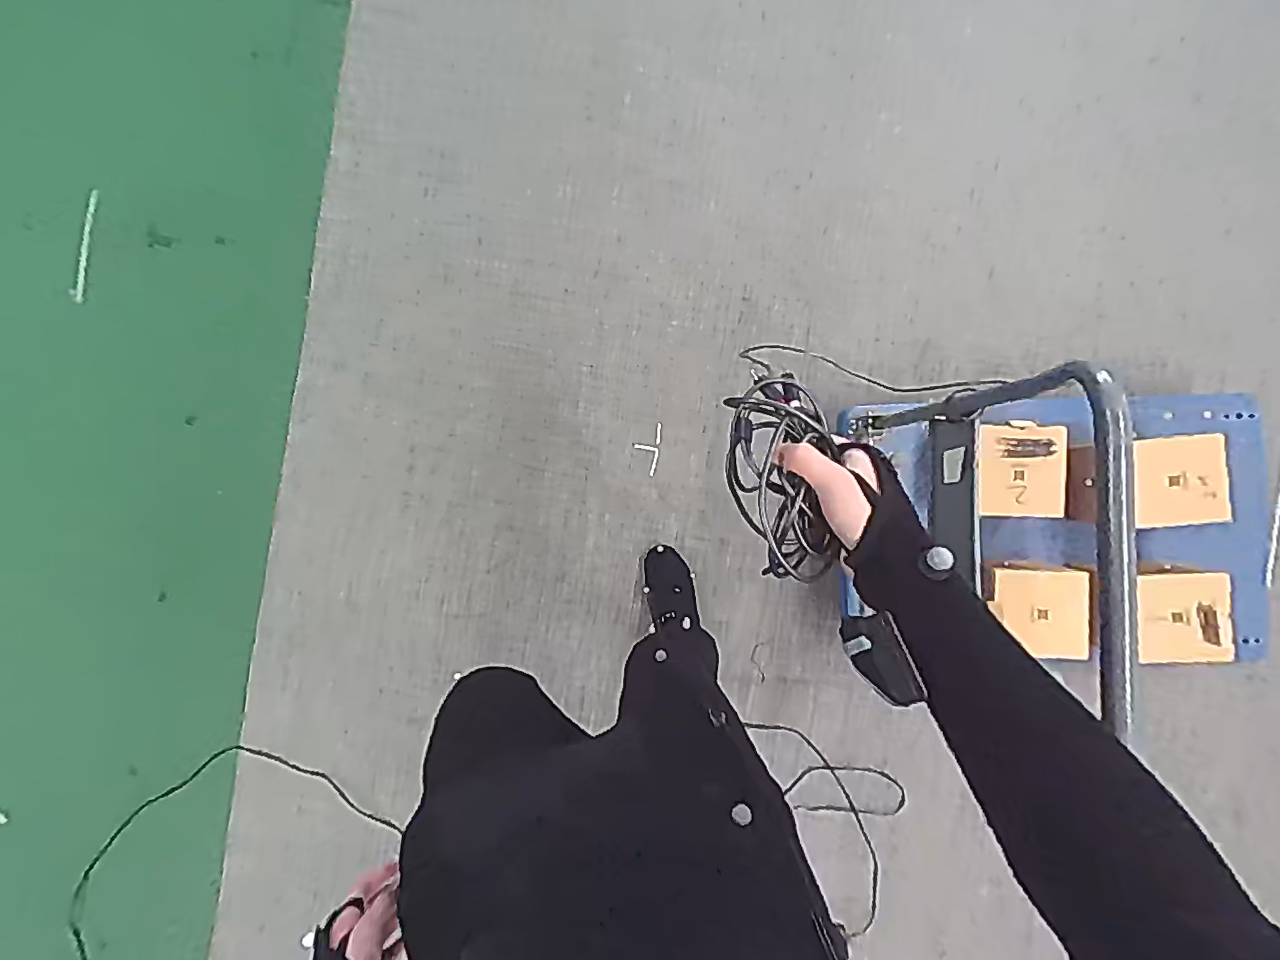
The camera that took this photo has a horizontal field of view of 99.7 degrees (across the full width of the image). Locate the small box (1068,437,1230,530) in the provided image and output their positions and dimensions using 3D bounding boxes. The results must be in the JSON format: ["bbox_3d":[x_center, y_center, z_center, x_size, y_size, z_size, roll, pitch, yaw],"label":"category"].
[{"bbox_3d":[0.998,0.009,1.080,0.179,0.176,0.168,-5,90,4],"label":"small box"}]

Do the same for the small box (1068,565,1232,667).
[{"bbox_3d":[1.004,0.263,1.077,0.179,0.176,0.168,-2,89,5],"label":"small box"}]

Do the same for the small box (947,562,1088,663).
[{"bbox_3d":[0.755,0.260,1.096,0.179,0.176,0.168,1,89,4],"label":"small box"}]
